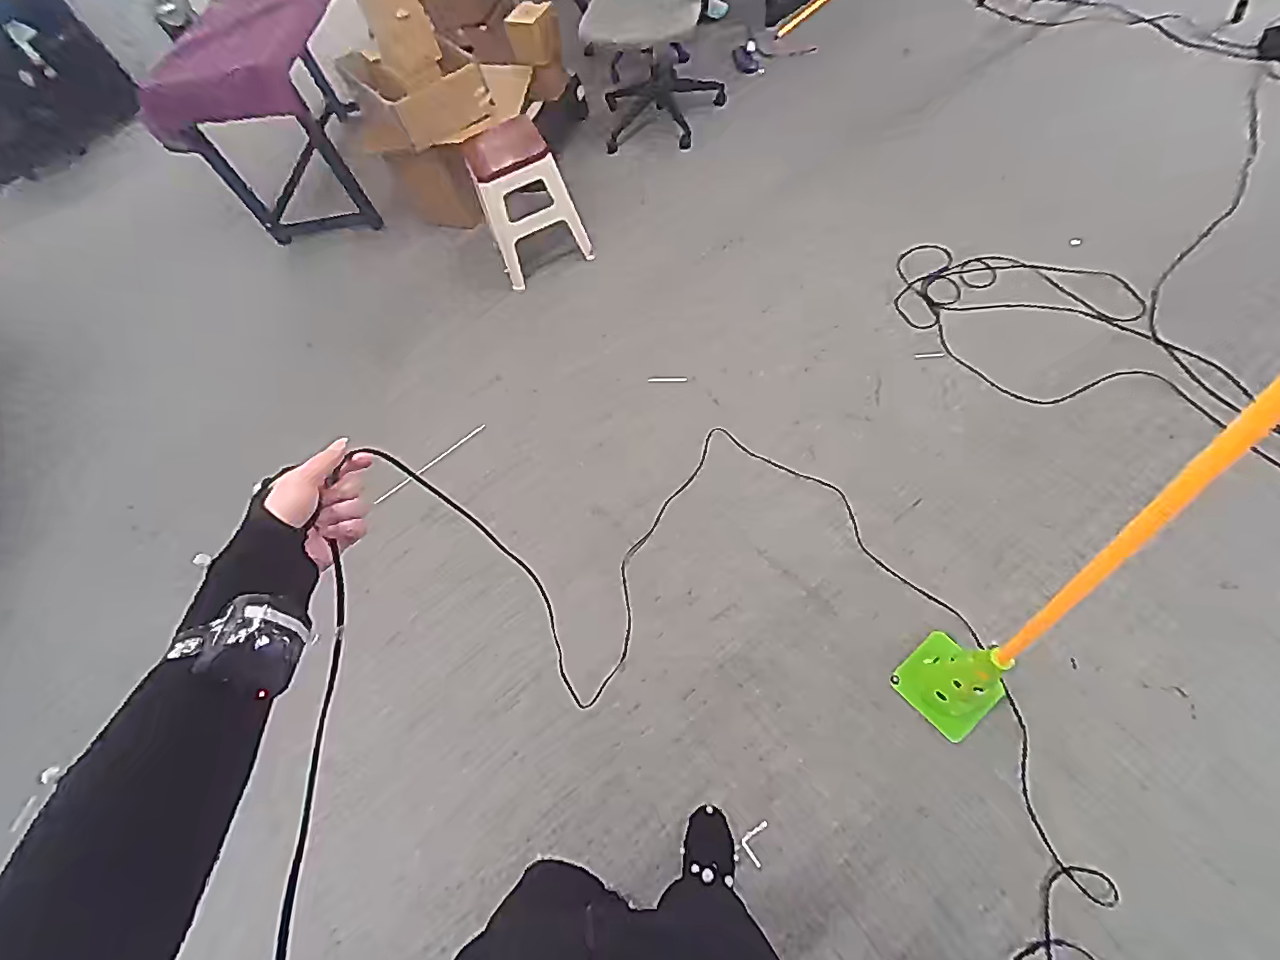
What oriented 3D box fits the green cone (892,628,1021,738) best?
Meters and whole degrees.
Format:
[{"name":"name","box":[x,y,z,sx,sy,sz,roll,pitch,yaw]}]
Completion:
[{"name":"green cone","box":[0.736,0.416,1.187,0.202,0.368,0.200,-39,63,-12]}]
